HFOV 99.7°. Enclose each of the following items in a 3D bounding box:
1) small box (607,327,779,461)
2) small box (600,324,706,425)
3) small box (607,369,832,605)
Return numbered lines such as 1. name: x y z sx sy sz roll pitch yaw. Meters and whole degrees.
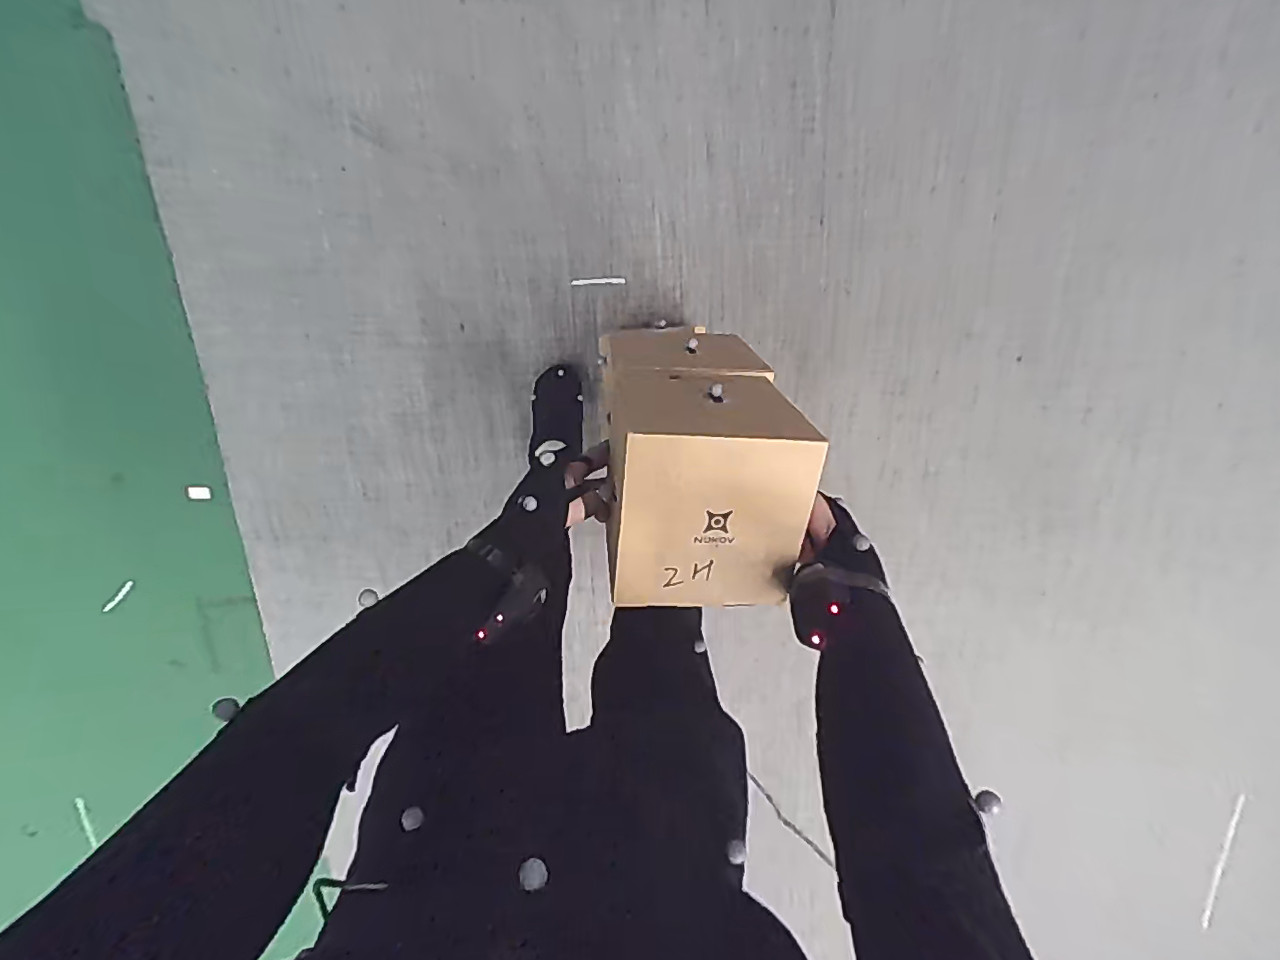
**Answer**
1. small box: 0.050 -0.086 0.668 0.179 0.176 0.168 0 119 -6
2. small box: 0.027 -0.168 0.917 0.168 0.176 0.179 -4 106 2
3. small box: 0.057 0.000 0.527 0.168 0.176 0.179 2 119 -7
